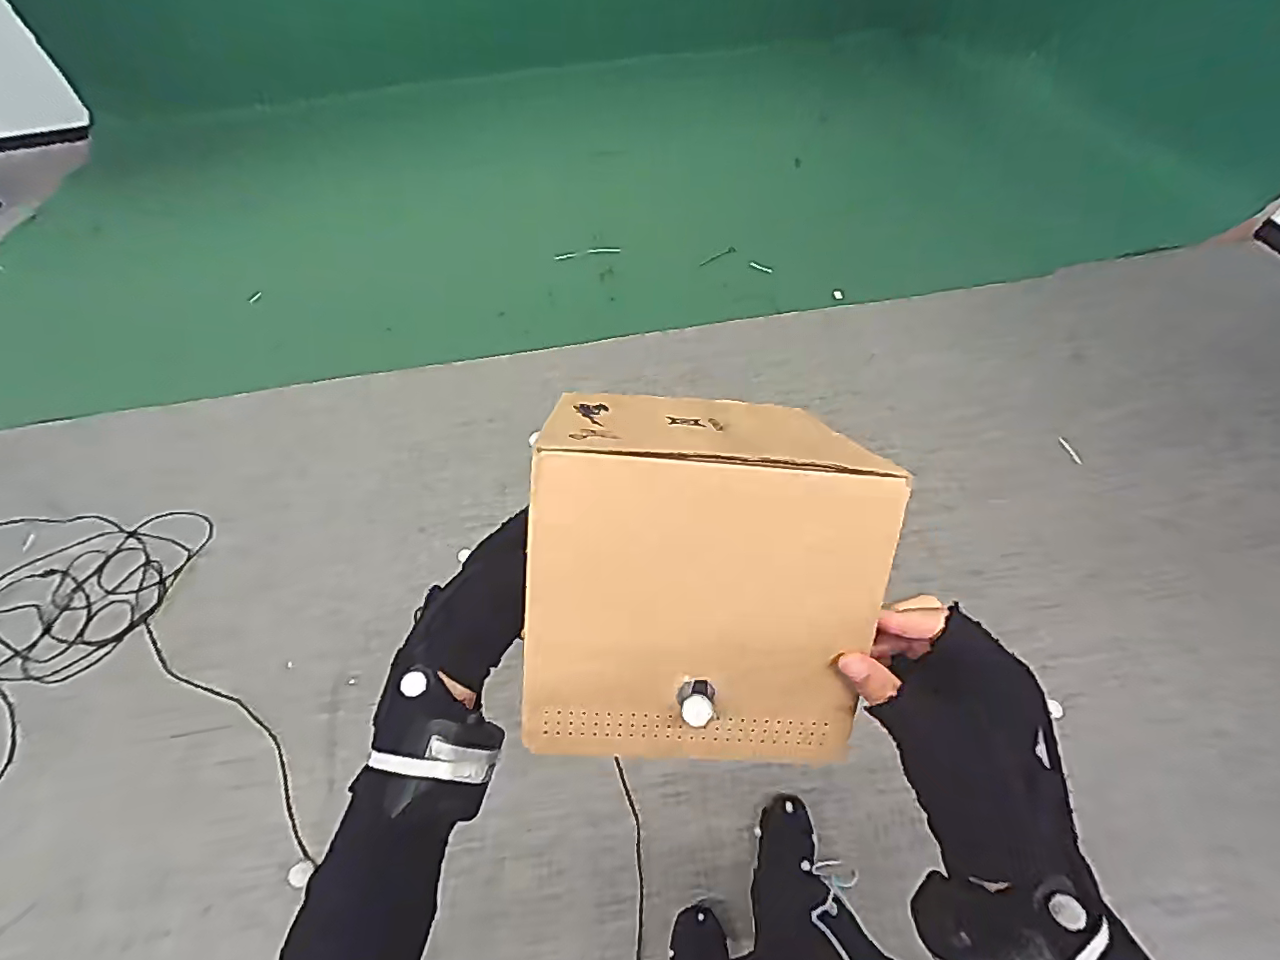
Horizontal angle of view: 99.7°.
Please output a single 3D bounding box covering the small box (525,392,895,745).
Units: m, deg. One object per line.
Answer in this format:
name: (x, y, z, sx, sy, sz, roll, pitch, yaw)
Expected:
small box: (0.028, 0.045, 0.352, 0.179, 0.176, 0.168, 5, 16, -4)
